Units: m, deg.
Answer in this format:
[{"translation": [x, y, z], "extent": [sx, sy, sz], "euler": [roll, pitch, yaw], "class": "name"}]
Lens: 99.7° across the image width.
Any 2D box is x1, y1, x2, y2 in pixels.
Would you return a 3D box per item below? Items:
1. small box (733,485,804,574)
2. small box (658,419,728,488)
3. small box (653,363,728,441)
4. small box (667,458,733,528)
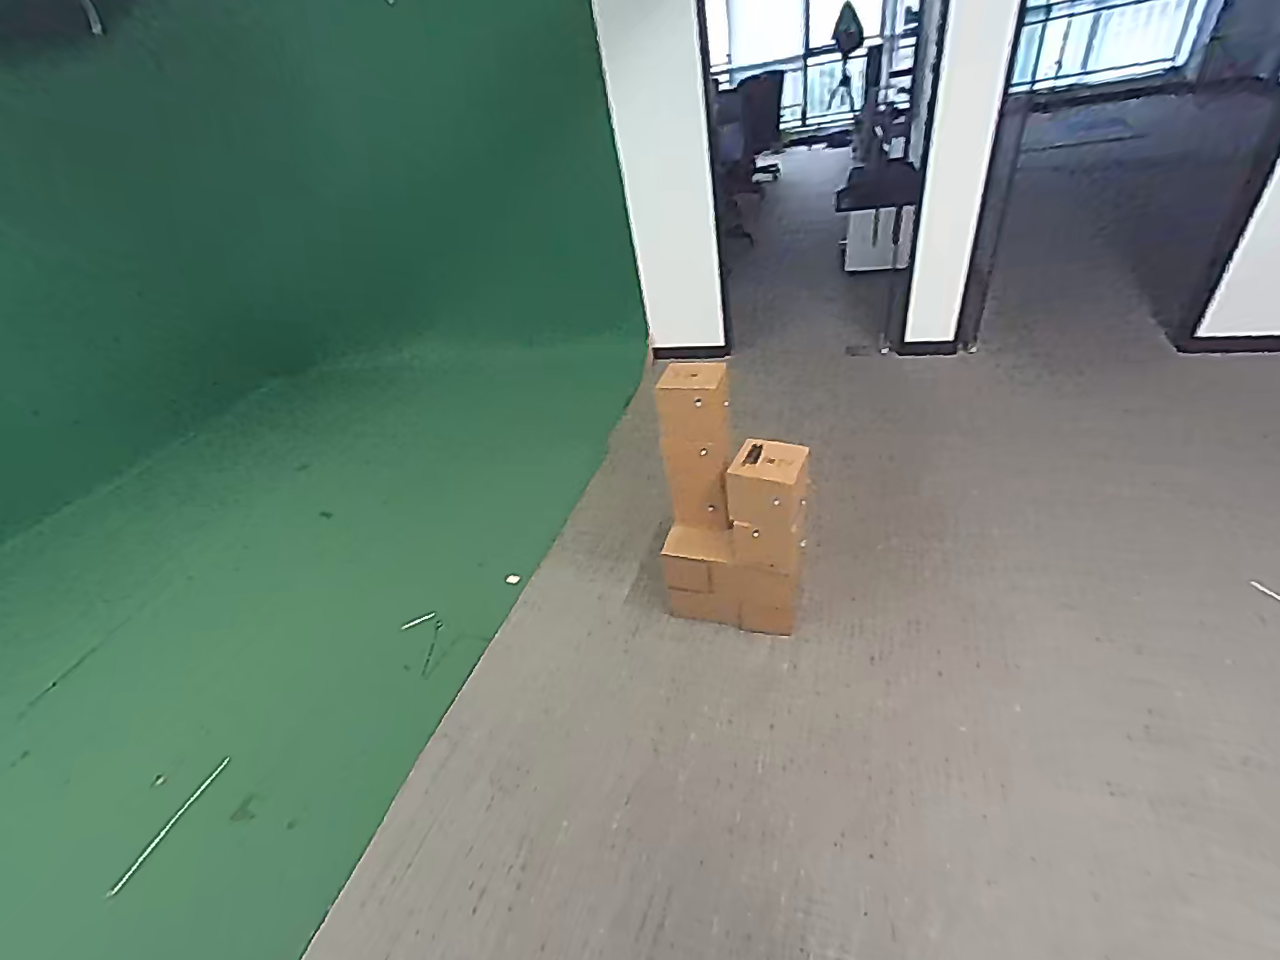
[{"translation": [0.373, 0.142, 1.567], "extent": [0.168, 0.176, 0.179], "euler": [7, 40, 23], "class": "small box"}, {"translation": [0.169, -0.091, 1.664], "extent": [0.179, 0.176, 0.168], "euler": [4, 37, 19], "class": "small box"}, {"translation": [0.153, -0.225, 1.569], "extent": [0.179, 0.176, 0.168], "euler": [4, 37, 21], "class": "small box"}, {"translation": [0.202, 0.040, 1.754], "extent": [0.179, 0.176, 0.168], "euler": [2, 37, 19], "class": "small box"}]
